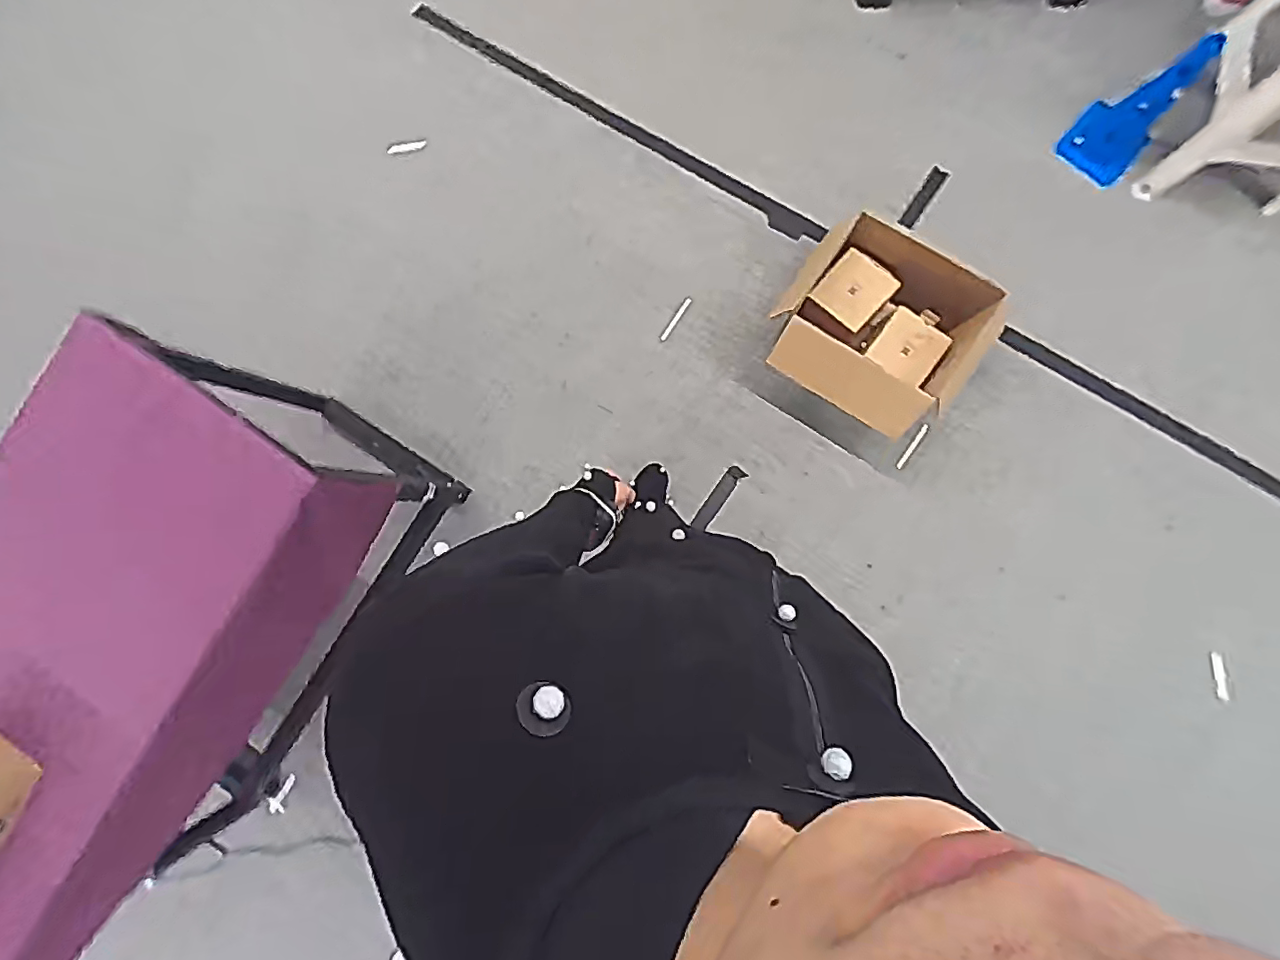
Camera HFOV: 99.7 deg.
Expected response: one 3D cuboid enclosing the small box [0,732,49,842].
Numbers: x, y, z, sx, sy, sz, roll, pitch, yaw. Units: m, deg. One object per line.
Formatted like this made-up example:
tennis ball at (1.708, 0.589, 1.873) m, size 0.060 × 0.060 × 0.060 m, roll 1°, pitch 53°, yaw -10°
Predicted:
small box at (-1.224, 0.565, 0.943) m, size 0.179 × 0.176 × 0.168 m, roll 29°, pitch 91°, yaw 6°
